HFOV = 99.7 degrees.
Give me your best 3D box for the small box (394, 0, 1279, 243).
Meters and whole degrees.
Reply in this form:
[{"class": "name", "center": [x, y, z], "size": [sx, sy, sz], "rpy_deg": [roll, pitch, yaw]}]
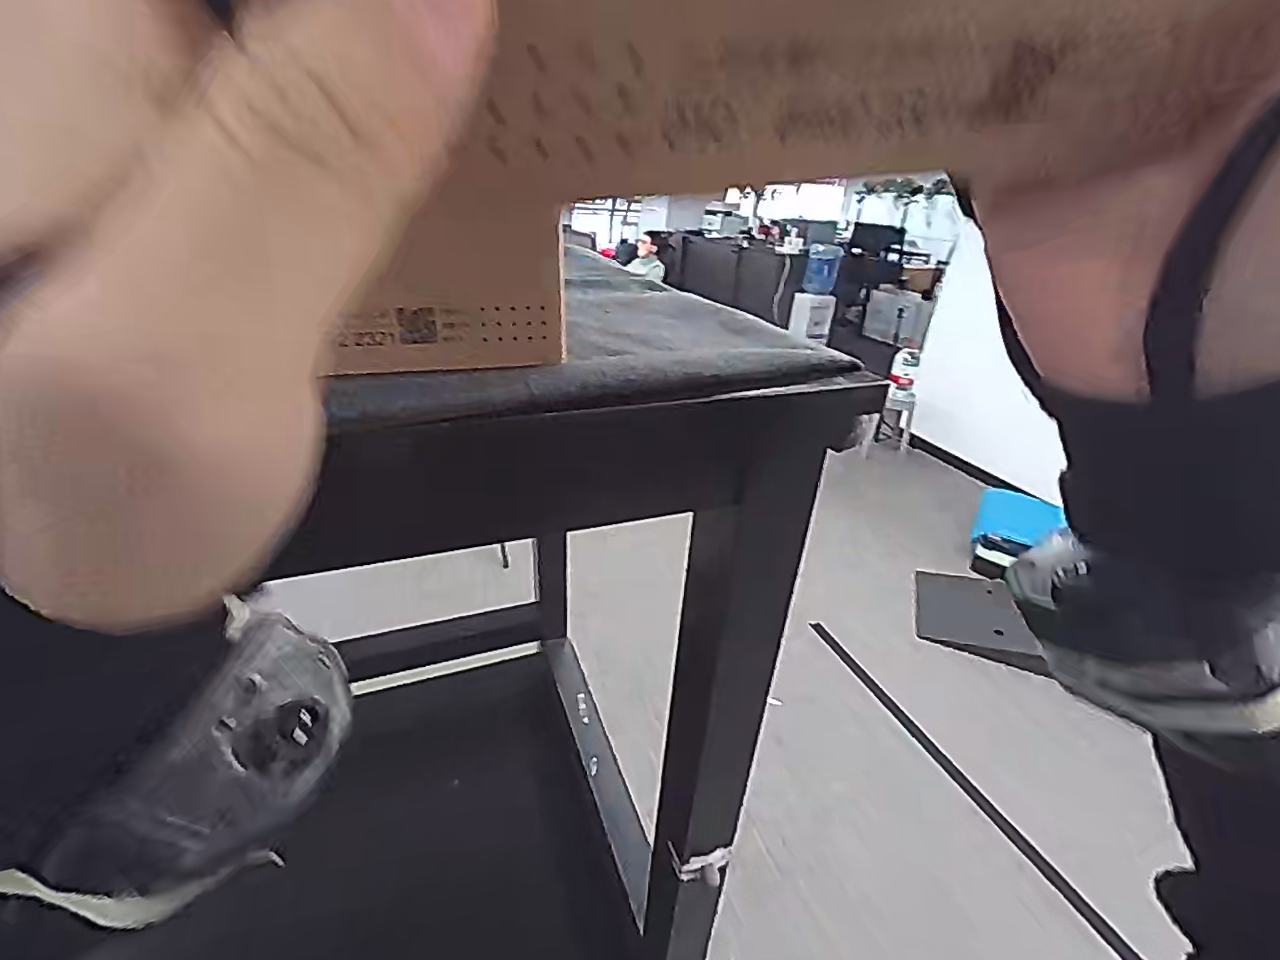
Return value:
[{"class": "small box", "center": [0.033, -0.161, 0.063], "size": [0.168, 0.176, 0.179], "rpy_deg": [-12, 71, -11]}]
